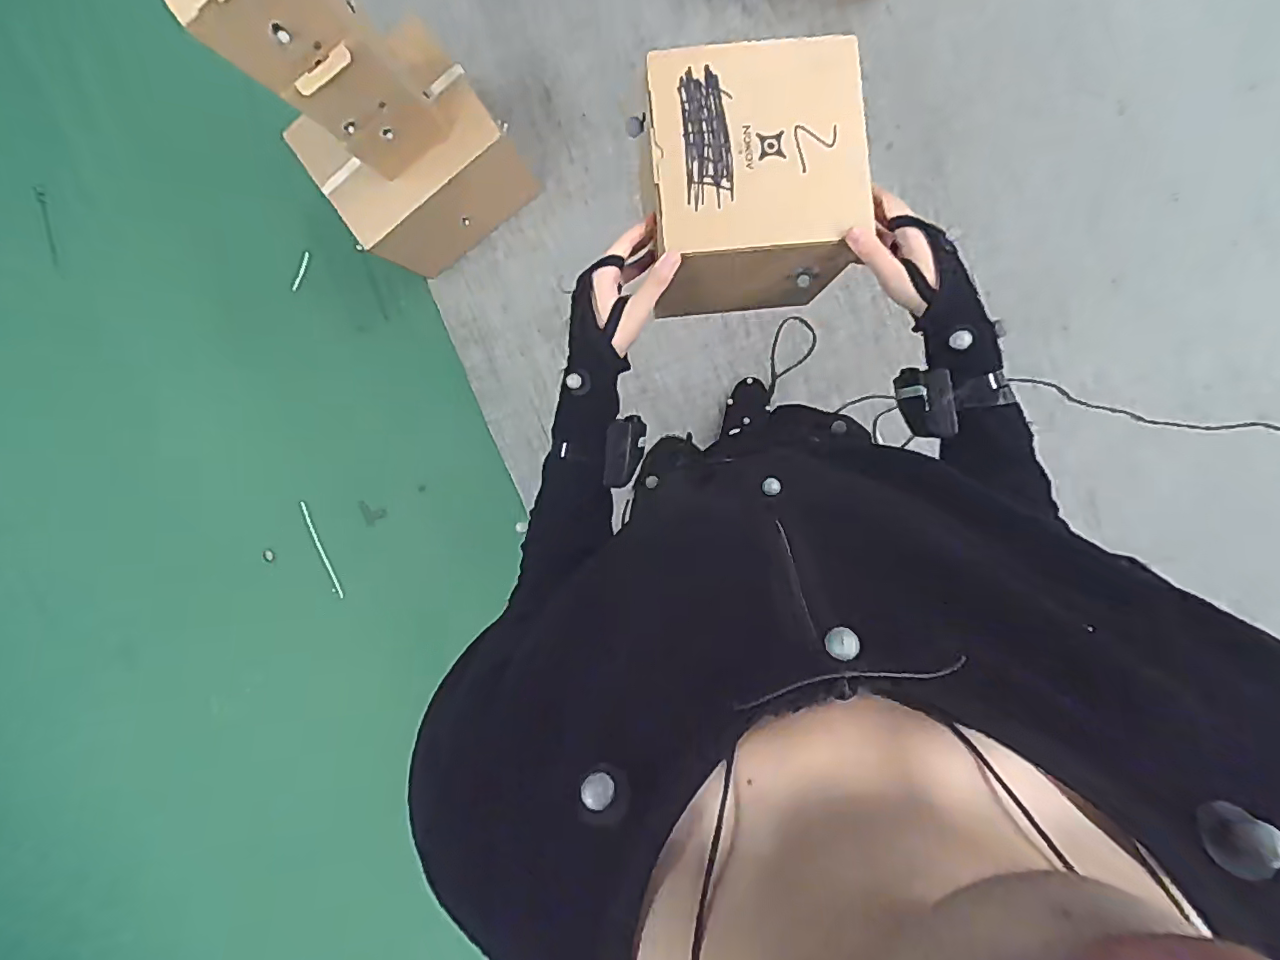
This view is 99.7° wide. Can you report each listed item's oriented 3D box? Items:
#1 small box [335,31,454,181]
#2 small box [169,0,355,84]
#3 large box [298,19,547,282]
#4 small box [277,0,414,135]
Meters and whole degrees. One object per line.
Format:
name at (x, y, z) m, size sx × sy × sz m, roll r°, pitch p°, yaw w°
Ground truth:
small box at (-0.511, -0.742, 1.080) m, size 0.179 × 0.176 × 0.168 m, roll -31°, pitch 95°, yaw 9°
small box at (-0.547, -0.704, 0.756) m, size 0.168 × 0.176 × 0.179 m, roll -30°, pitch 96°, yaw 10°
large box at (-0.504, -0.761, 1.326) m, size 0.408 × 0.320 × 0.320 m, roll -34°, pitch 92°, yaw 11°
small box at (-0.524, -0.728, 0.917) m, size 0.168 × 0.176 × 0.179 m, roll -29°, pitch 95°, yaw 10°
